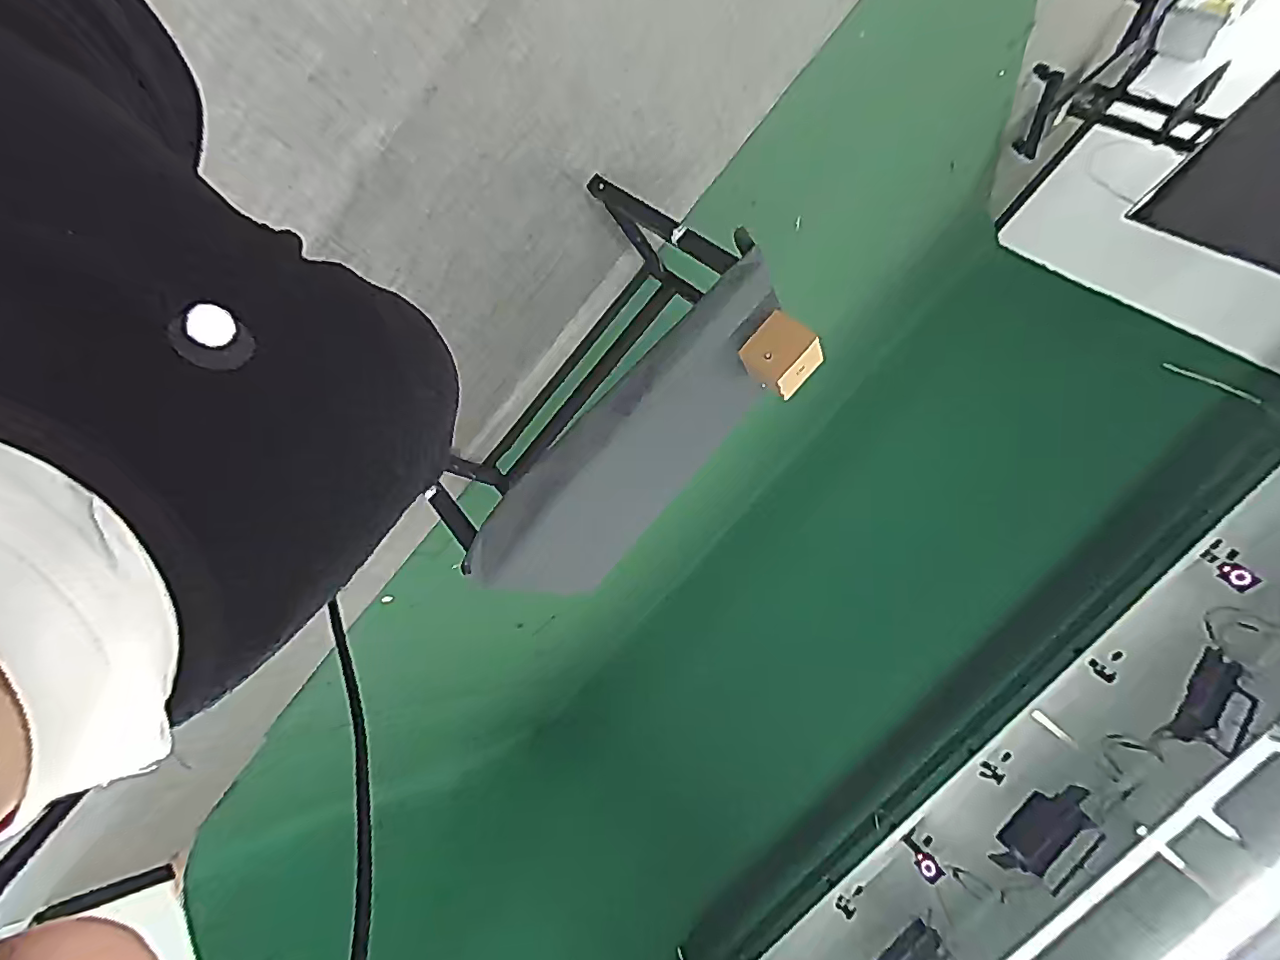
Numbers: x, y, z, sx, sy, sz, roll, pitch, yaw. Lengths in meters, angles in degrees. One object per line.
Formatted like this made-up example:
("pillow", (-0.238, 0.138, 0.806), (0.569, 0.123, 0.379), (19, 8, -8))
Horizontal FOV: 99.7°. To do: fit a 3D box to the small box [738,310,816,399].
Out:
("small box", (0.423, -0.391, 1.686), (0.179, 0.176, 0.168), (-47, 156, 4))
